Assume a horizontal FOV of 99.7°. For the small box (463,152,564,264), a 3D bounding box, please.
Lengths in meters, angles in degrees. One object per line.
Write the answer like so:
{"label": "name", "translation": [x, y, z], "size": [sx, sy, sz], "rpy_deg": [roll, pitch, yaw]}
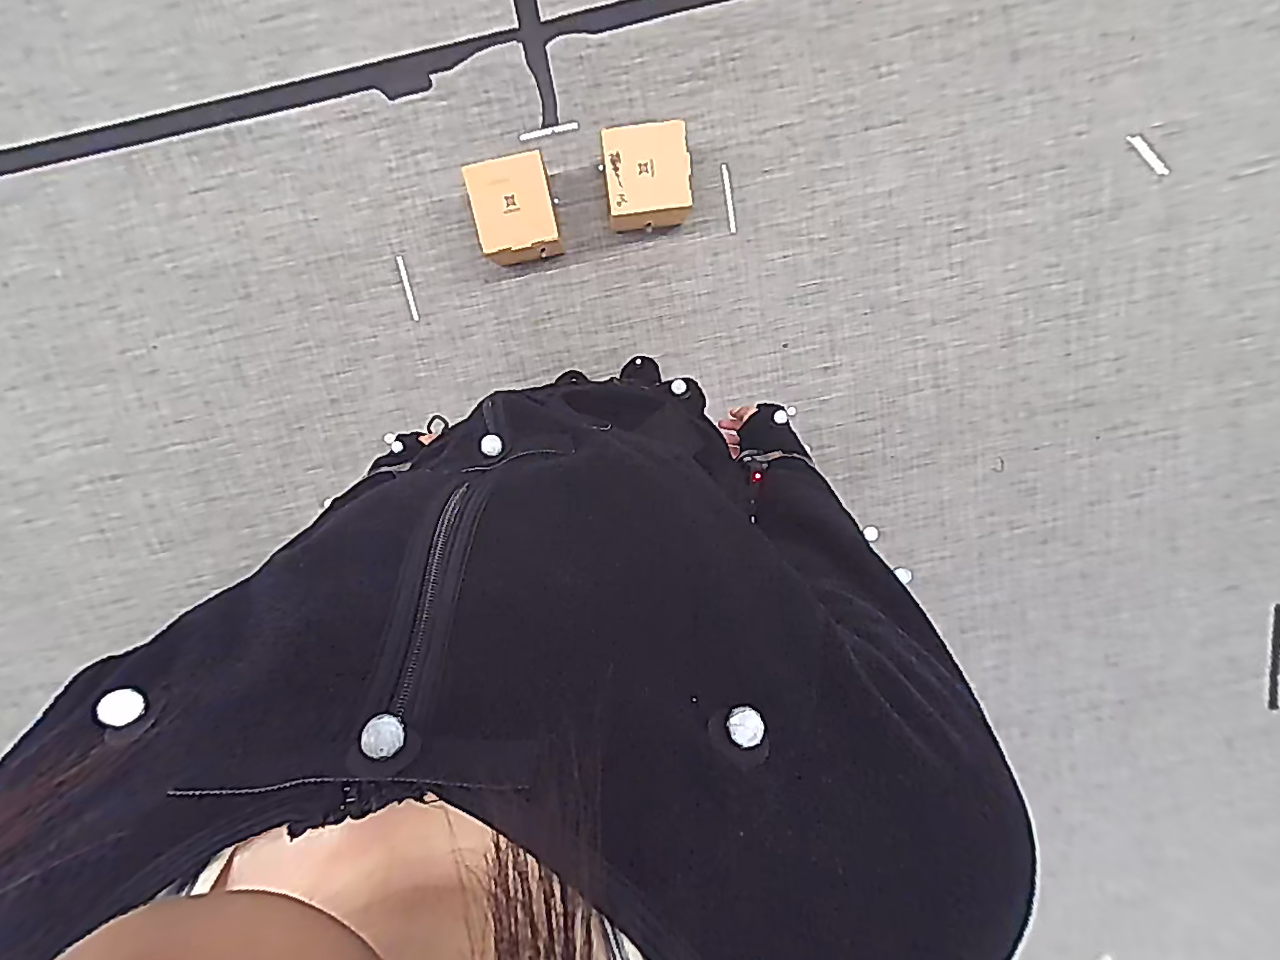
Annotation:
{"label": "small box", "translation": [-0.270, -0.590, 1.199], "size": [0.168, 0.176, 0.179], "rpy_deg": [-13, 103, -1]}

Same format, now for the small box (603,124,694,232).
{"label": "small box", "translation": [0.014, -0.658, 1.195], "size": [0.179, 0.176, 0.168], "rpy_deg": [-7, 104, -2]}

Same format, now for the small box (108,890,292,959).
{"label": "small box", "translation": [-0.635, 0.719, 0.749], "size": [0.179, 0.176, 0.168], "rpy_deg": [-11, 105, 1]}
